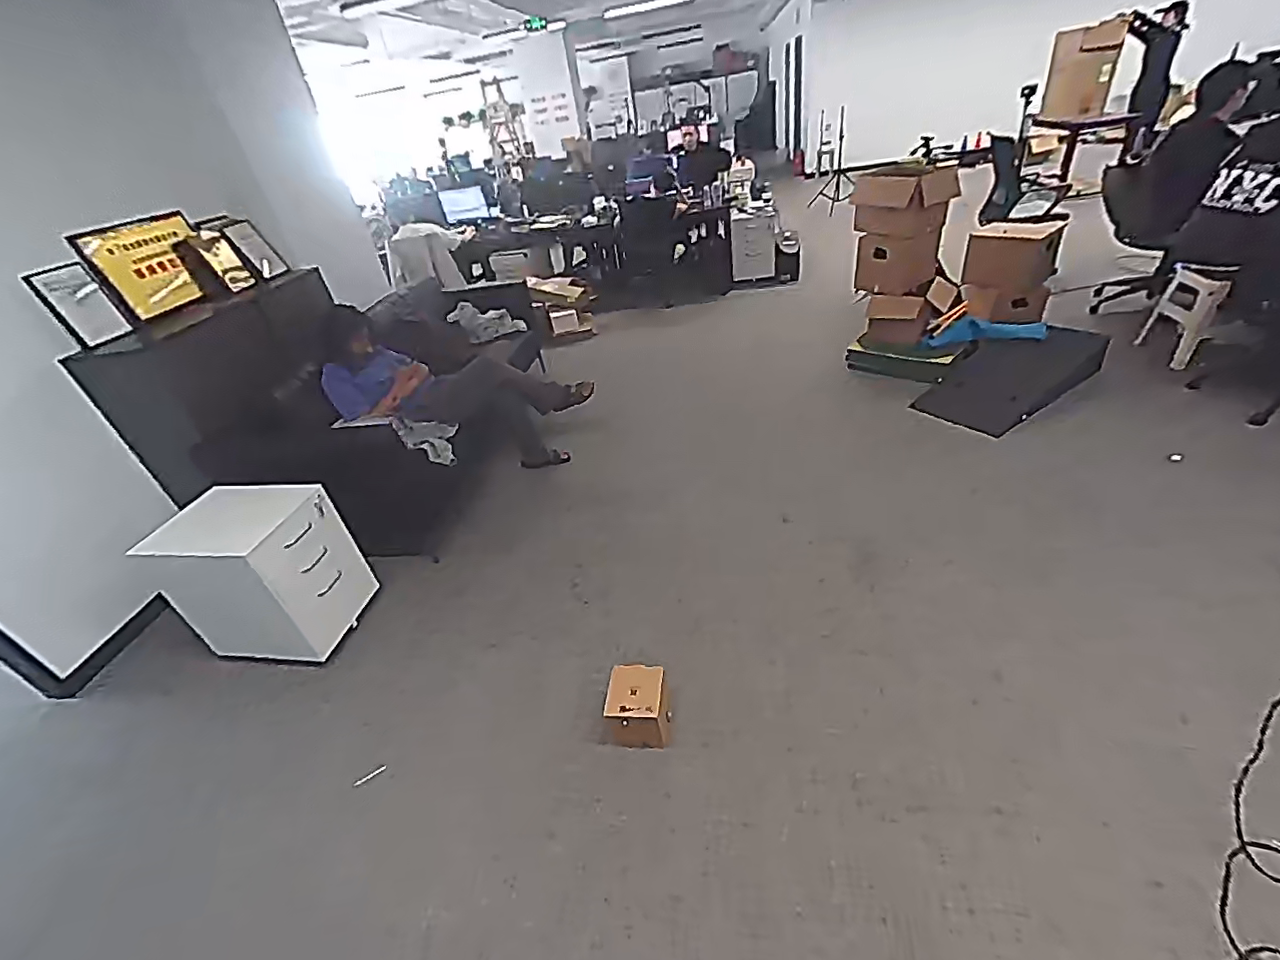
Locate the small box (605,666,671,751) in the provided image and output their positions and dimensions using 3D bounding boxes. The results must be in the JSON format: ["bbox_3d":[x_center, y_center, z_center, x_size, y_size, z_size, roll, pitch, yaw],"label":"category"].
[{"bbox_3d":[0.001,0.707,1.680,0.168,0.176,0.179,-3,34,13],"label":"small box"}]
